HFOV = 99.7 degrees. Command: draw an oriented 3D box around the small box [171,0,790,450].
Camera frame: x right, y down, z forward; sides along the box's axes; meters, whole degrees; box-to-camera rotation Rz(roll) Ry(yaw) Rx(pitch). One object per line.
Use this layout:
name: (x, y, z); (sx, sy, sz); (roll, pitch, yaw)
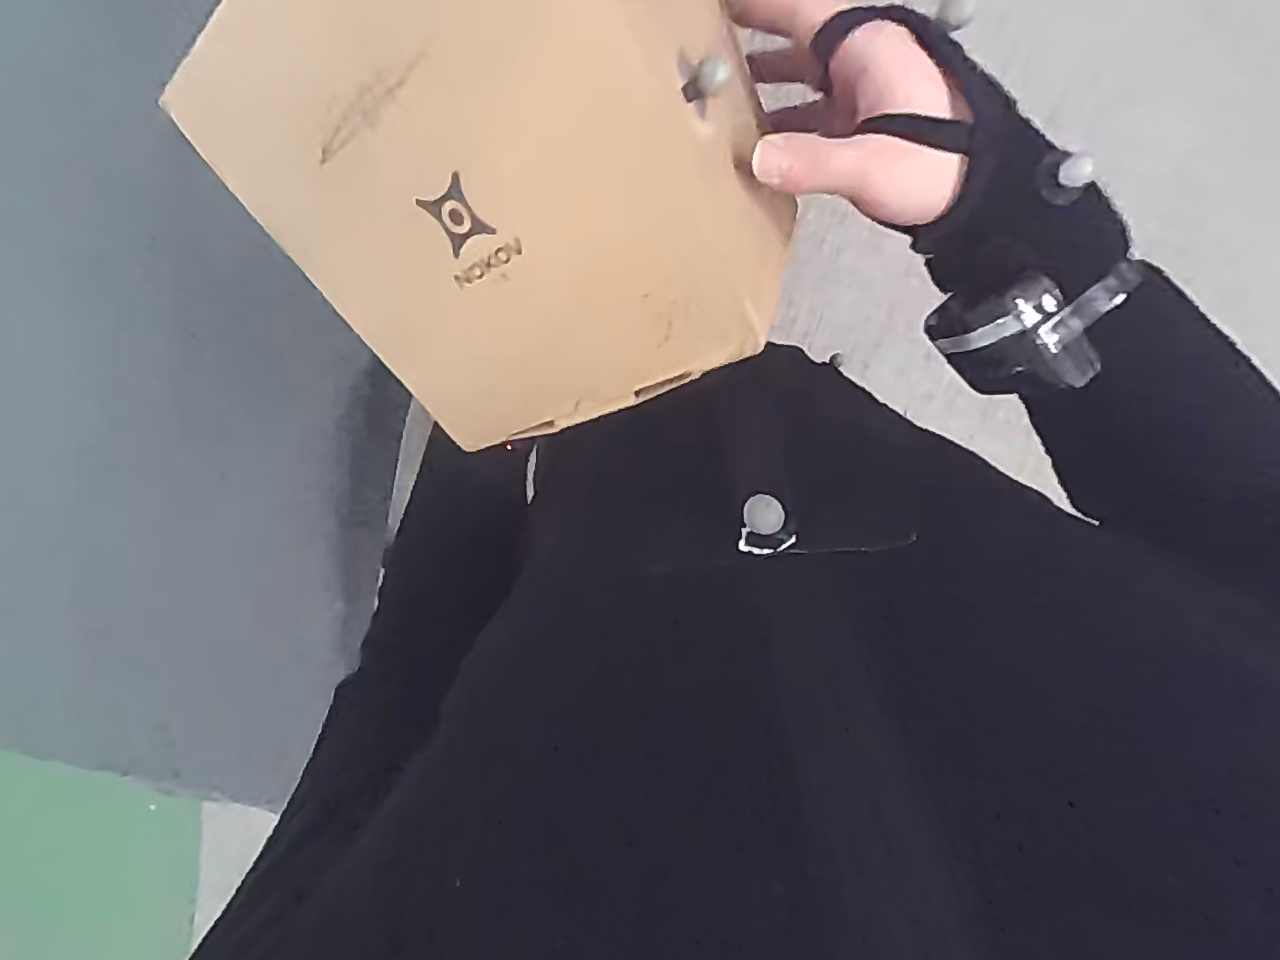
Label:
small box: (-0.040, -0.145, 0.252); (0.168, 0.176, 0.179); (-14, 124, 31)
